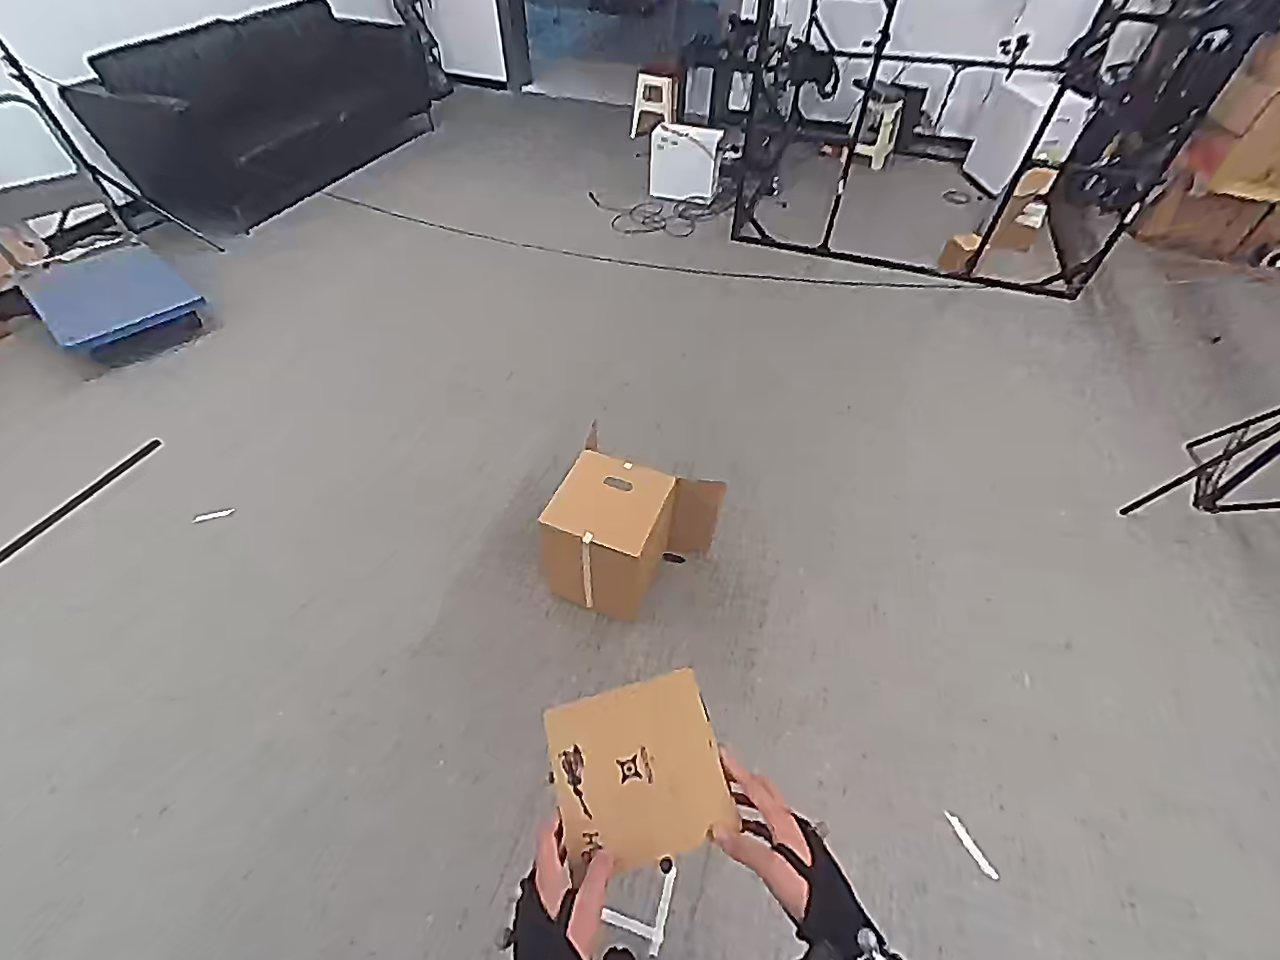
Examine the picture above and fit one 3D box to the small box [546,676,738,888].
[{"bbox_3d":[-0.001,0.352,0.642,0.179,0.176,0.168,-14,58,-6],"label":"small box"}]
